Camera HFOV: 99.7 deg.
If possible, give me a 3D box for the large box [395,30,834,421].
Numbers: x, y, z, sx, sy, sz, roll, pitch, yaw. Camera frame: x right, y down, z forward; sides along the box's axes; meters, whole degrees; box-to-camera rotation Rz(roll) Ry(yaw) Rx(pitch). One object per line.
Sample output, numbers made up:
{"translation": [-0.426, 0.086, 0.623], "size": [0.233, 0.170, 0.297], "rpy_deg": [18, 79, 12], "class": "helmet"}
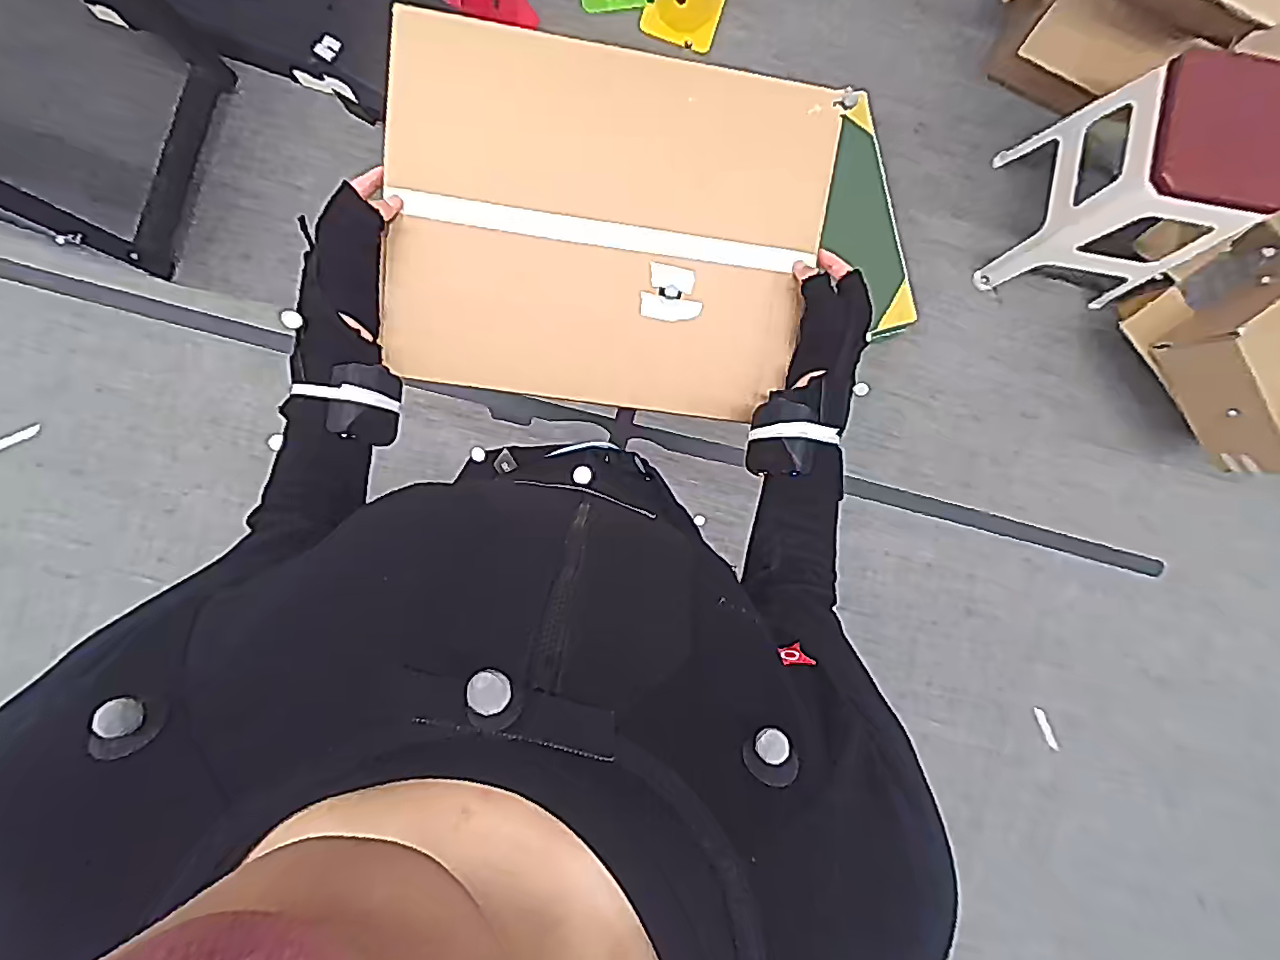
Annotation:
{"translation": [-0.041, -0.258, 0.669], "size": [0.408, 0.320, 0.320], "rpy_deg": [7, 101, -6], "class": "large box"}
